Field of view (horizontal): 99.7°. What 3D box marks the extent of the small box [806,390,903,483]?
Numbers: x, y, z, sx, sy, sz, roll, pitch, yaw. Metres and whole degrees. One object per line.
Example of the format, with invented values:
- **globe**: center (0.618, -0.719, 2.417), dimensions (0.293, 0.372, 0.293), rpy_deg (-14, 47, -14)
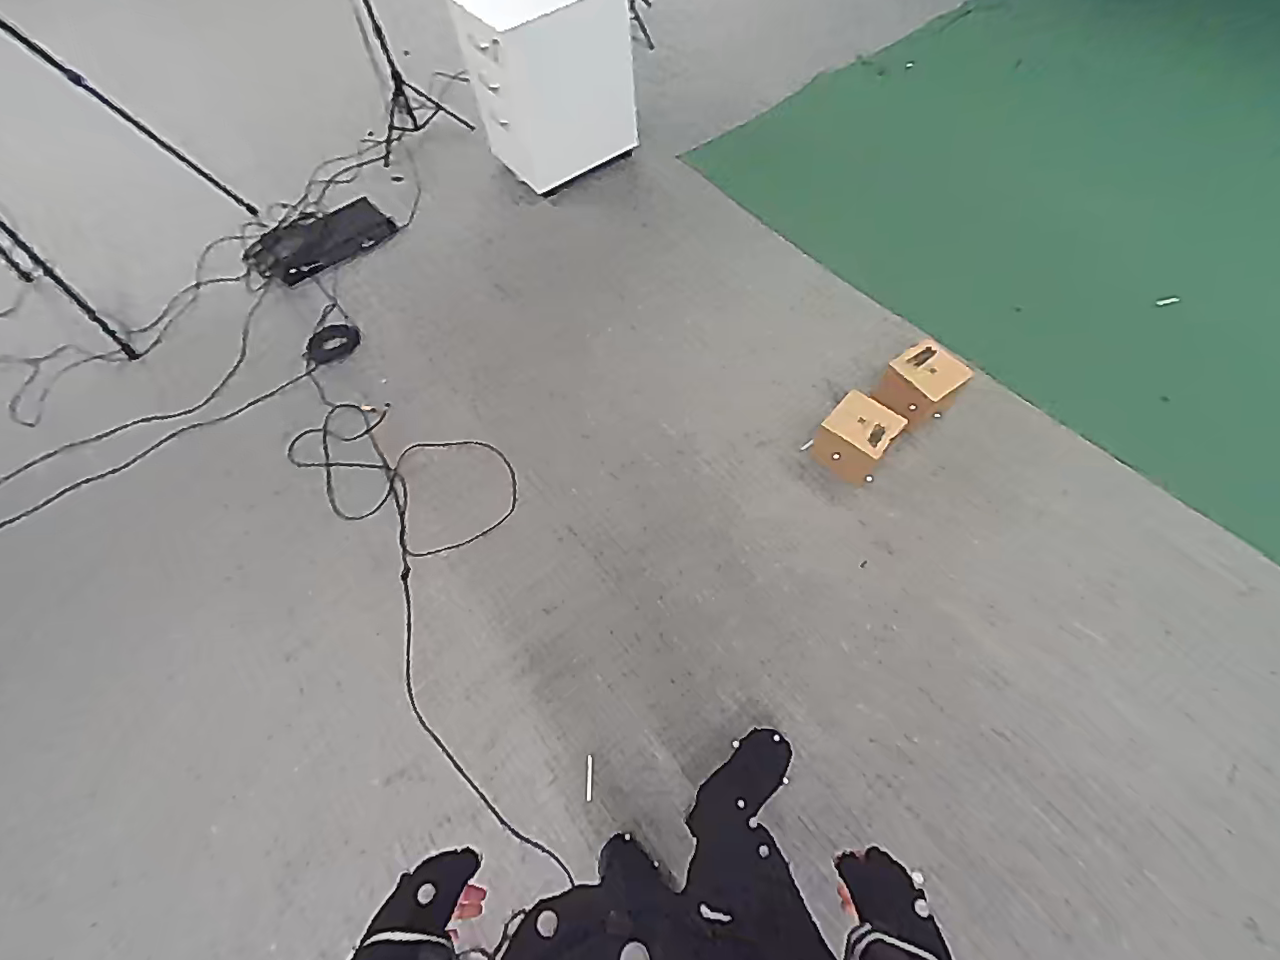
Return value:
- **small box**: center (0.606, -0.115, 1.545), dimensions (0.179, 0.176, 0.168), rpy_deg (38, 69, 21)
